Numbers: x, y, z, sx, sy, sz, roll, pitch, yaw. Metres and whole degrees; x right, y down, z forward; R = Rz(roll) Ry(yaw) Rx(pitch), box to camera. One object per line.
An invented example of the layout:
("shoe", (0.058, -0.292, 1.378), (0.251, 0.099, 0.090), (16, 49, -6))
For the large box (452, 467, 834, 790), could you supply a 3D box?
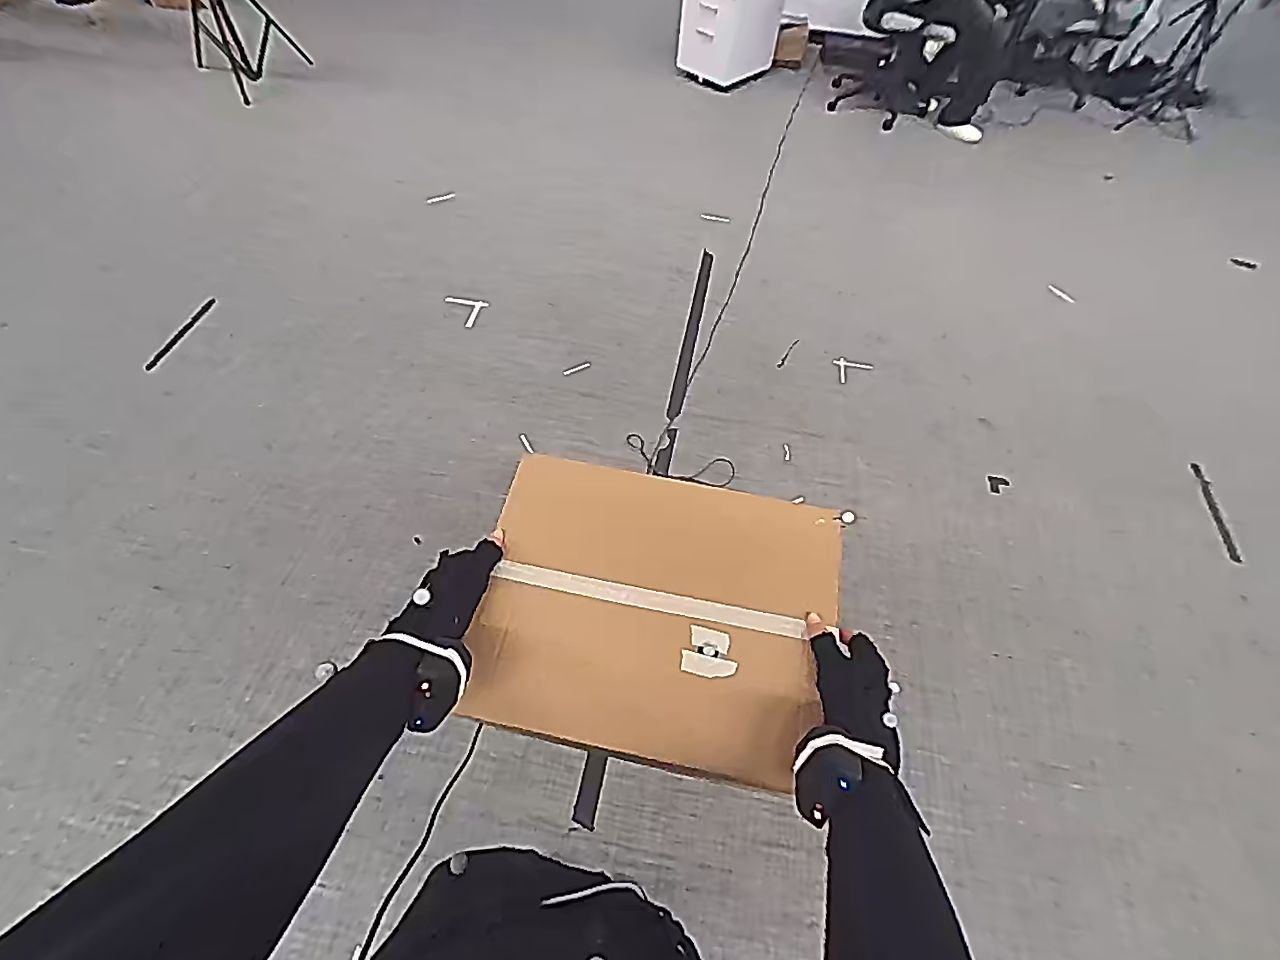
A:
("large box", (0.016, 0.217, 0.757), (0.408, 0.320, 0.320), (11, 63, 4))
